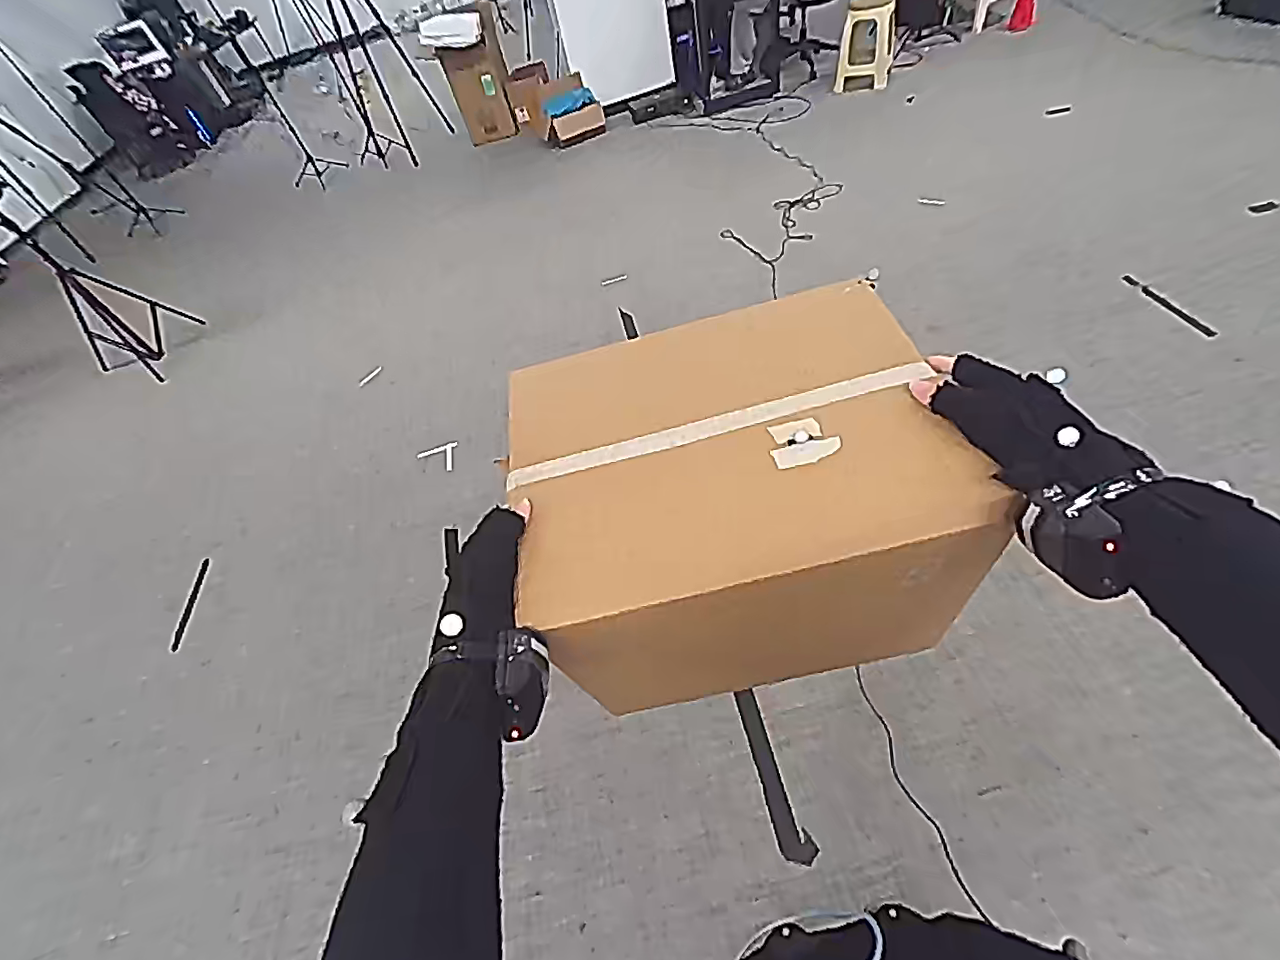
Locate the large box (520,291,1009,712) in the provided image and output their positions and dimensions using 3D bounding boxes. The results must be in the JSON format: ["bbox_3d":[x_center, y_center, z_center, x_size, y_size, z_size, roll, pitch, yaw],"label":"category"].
[{"bbox_3d":[0.105,0.042,0.641,0.408,0.320,0.320,-14,54,4],"label":"large box"}]
